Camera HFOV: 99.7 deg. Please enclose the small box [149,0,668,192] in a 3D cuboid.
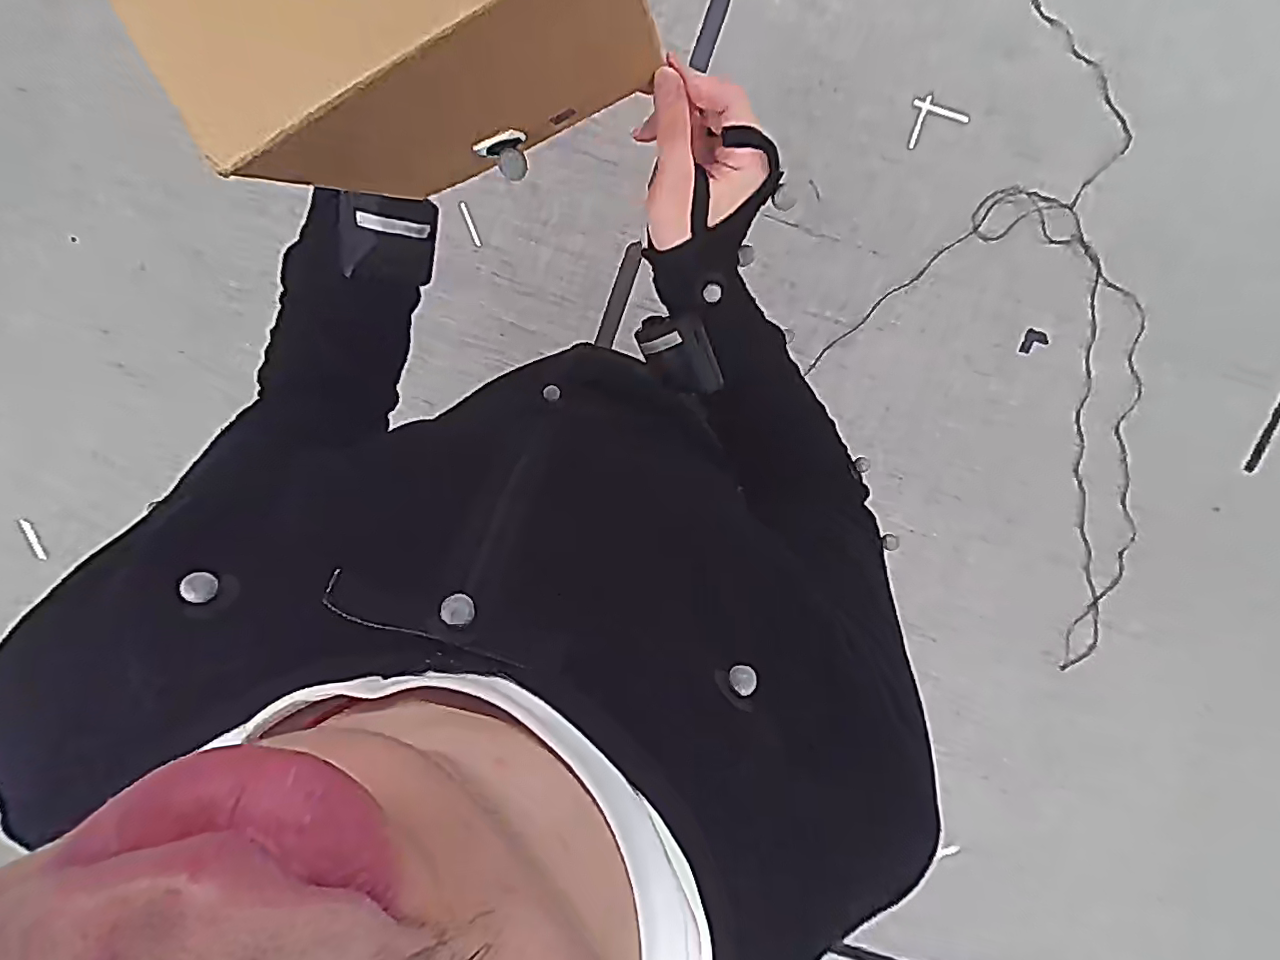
[{"bbox_3d":[-0.095,-0.249,0.231,0.168,0.176,0.179,-18,111,15],"label":"small box"}]
